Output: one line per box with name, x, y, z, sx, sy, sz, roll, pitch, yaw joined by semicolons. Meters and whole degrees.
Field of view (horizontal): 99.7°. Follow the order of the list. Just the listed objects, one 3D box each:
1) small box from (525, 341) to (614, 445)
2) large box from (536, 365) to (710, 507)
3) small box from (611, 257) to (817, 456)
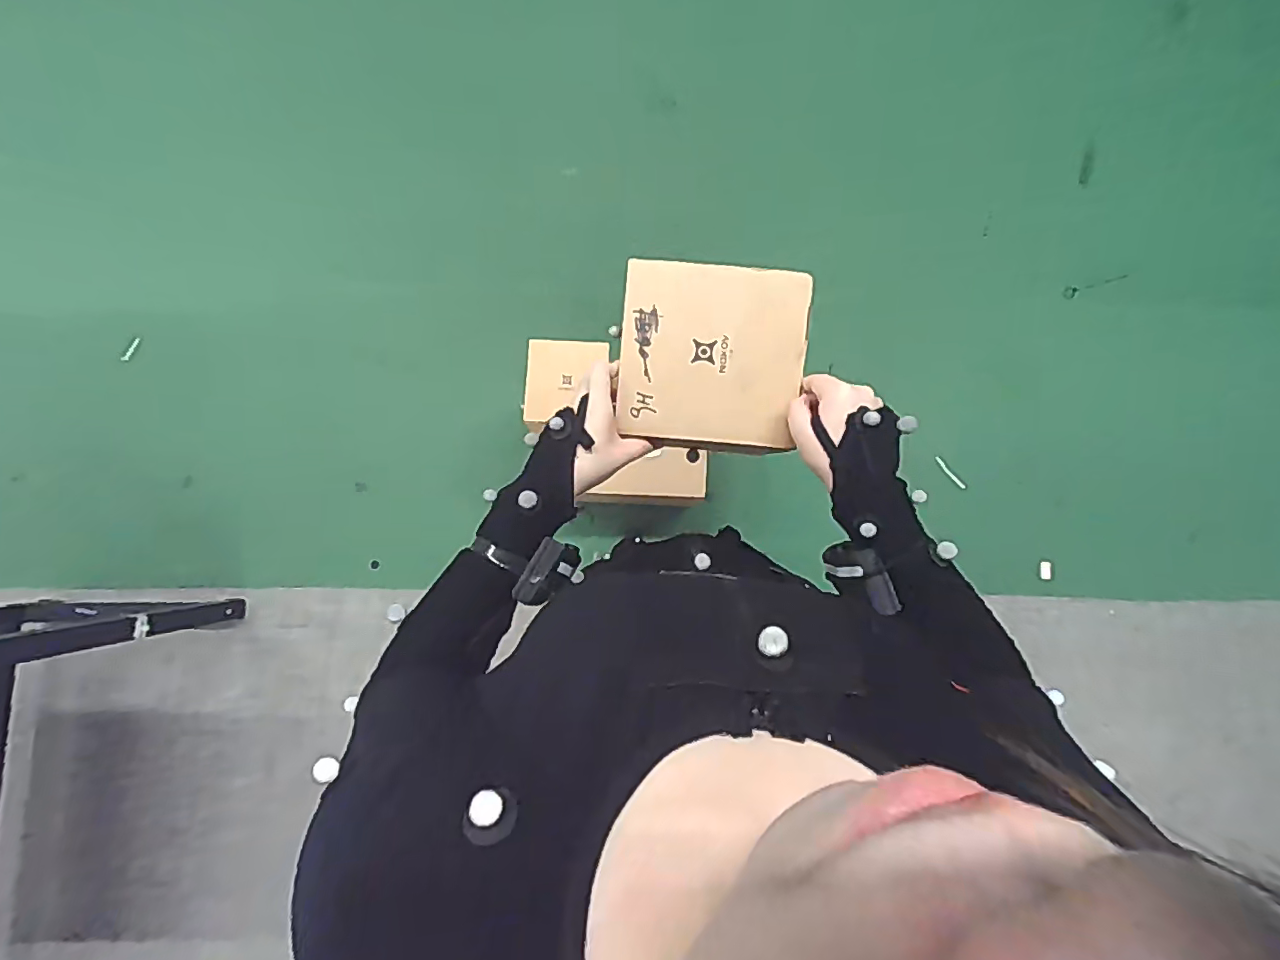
small box;-0.144;-0.179;1.155;0.168;0.176;0.179;3;83;0
large box;-0.039;-0.097;1.390;0.408;0.320;0.320;2;84;0
small box;0.067;-0.115;0.573;0.179;0.176;0.168;6;91;0
